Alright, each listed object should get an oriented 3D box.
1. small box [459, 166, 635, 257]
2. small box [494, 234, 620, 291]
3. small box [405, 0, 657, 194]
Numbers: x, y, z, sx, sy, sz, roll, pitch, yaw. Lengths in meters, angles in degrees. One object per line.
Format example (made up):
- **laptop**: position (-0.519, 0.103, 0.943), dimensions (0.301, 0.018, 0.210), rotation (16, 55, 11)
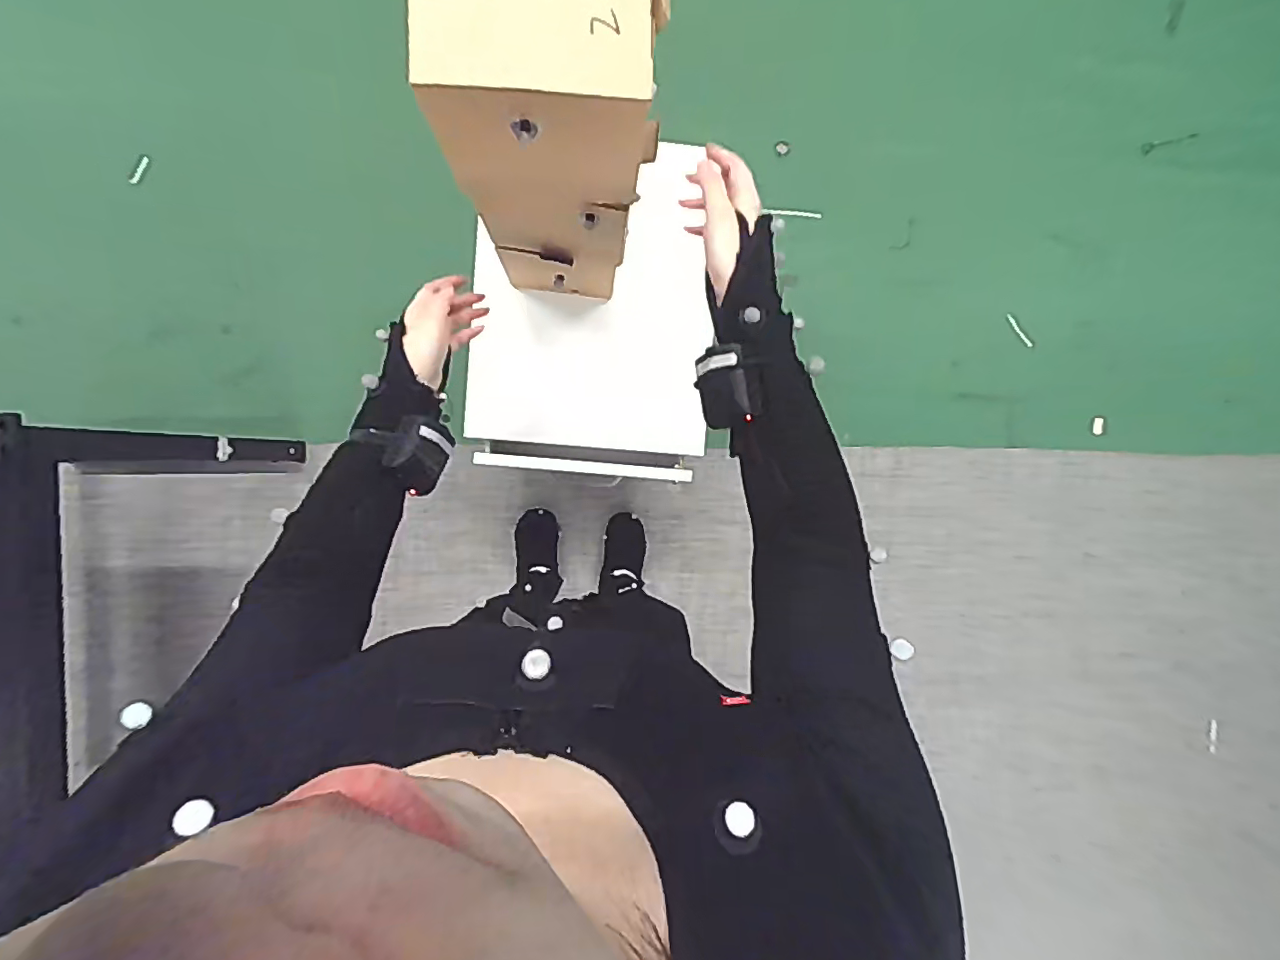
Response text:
- **small box**: position (-0.090, -0.375, 0.617), dimensions (0.179, 0.176, 0.168), rotation (7, 92, -6)
- **small box**: position (-0.106, -0.386, 0.778), dimensions (0.168, 0.176, 0.179), rotation (5, 93, -5)
- **small box**: position (-0.081, -0.362, 0.453), dimensions (0.179, 0.176, 0.168), rotation (0, 94, -5)
